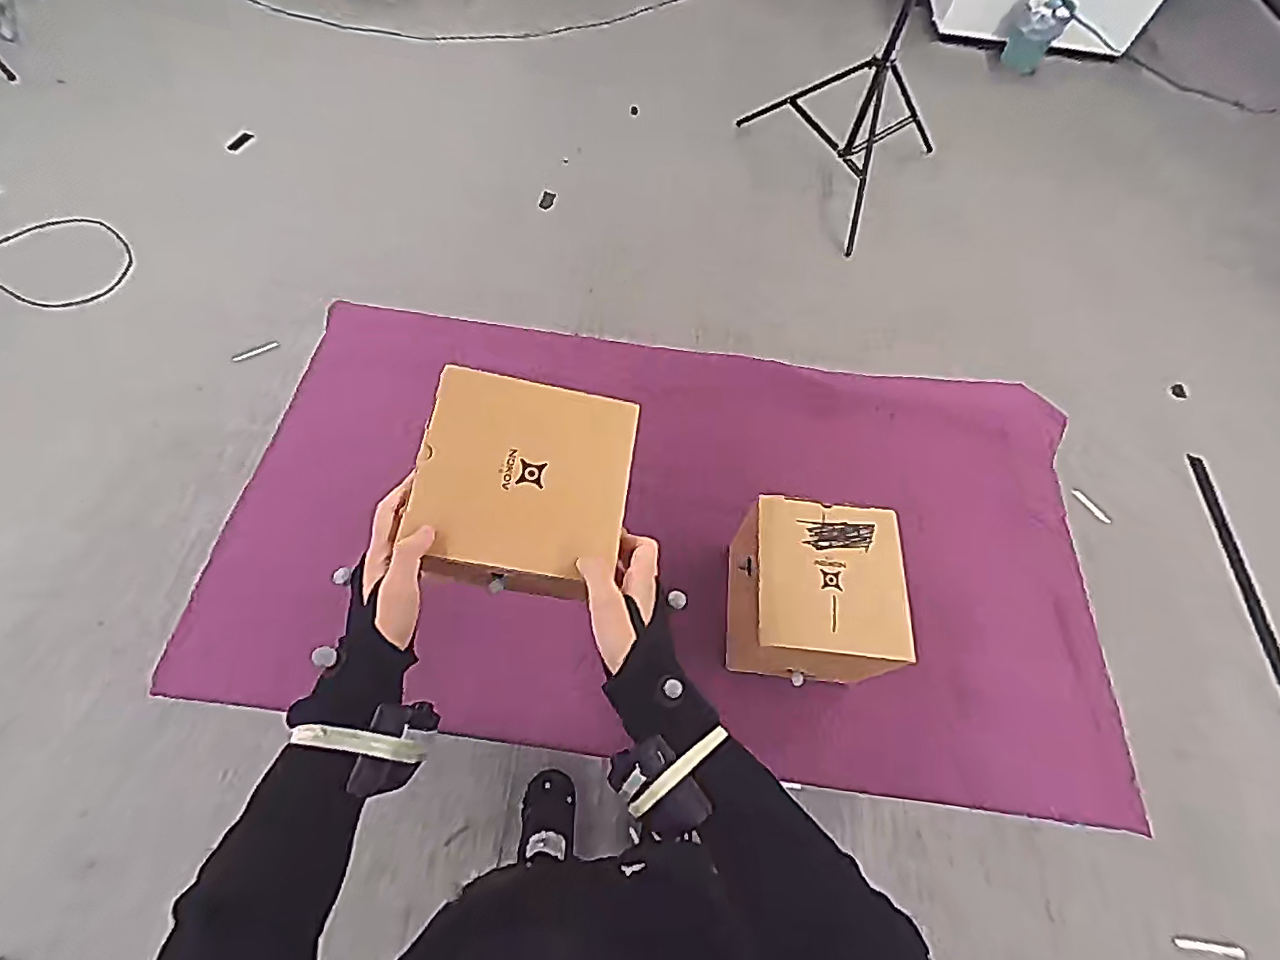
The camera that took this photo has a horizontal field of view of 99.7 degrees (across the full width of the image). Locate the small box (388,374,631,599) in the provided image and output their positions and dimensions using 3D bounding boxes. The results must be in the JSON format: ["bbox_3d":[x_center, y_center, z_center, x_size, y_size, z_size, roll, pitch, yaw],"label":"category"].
[{"bbox_3d":[-0.117,0.021,0.533,0.179,0.176,0.168,10,72,-8],"label":"small box"}]

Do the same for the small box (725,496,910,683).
[{"bbox_3d":[0.203,0.142,0.670,0.168,0.176,0.179,7,62,0],"label":"small box"}]
